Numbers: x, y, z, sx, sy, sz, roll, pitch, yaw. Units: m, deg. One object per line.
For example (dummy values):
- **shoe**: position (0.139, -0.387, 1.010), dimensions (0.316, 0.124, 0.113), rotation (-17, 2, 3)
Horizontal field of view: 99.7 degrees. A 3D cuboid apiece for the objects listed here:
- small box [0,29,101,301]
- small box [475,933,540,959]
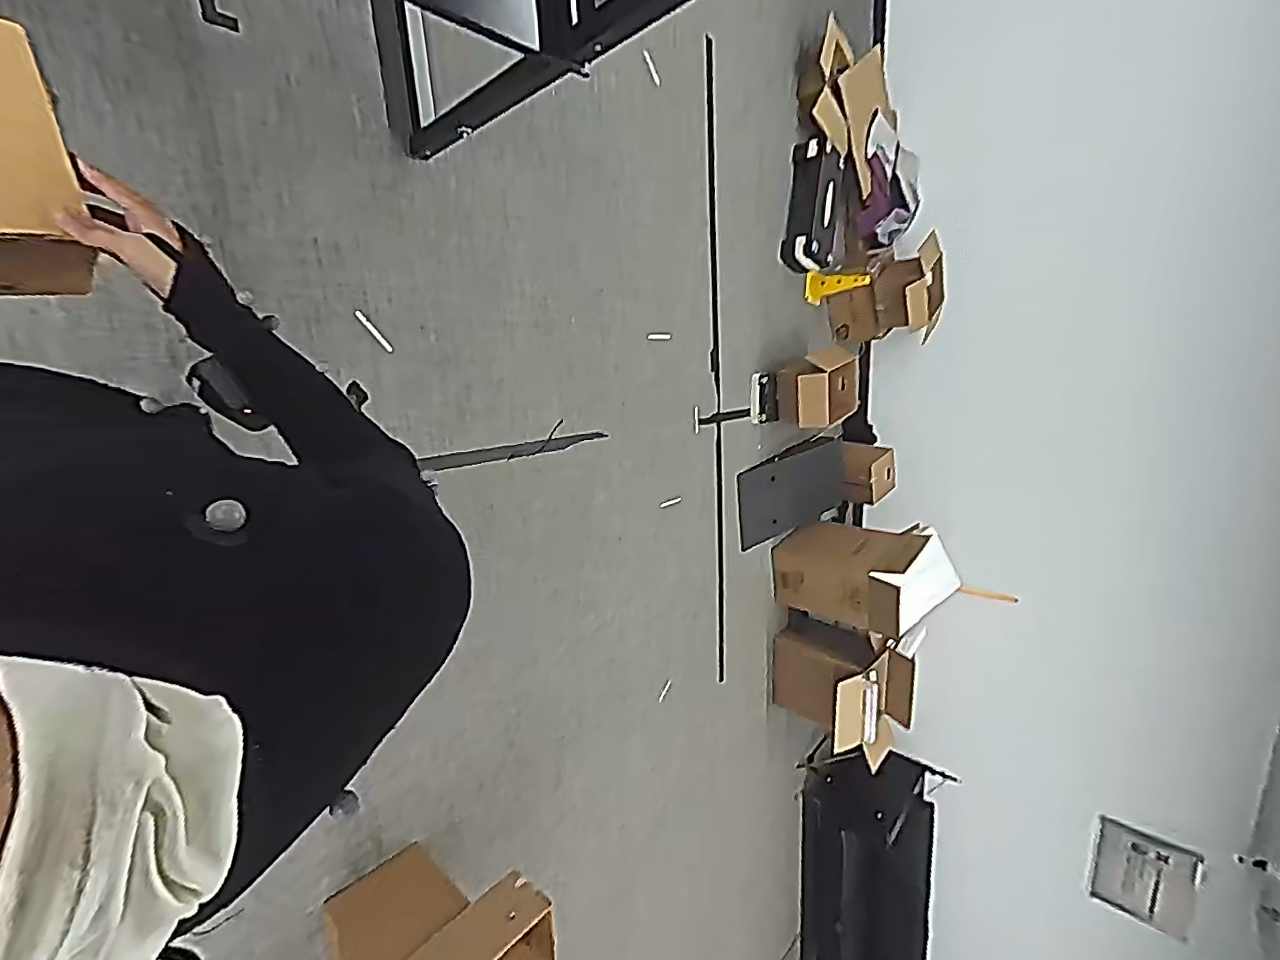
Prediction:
- **small box**: position (-0.604, -0.263, 0.459), dimensions (0.168, 0.176, 0.179), rotation (-22, 104, -46)
- **small box**: position (-0.397, 1.490, 1.585), dimensions (0.168, 0.176, 0.179), rotation (-18, 111, -46)
